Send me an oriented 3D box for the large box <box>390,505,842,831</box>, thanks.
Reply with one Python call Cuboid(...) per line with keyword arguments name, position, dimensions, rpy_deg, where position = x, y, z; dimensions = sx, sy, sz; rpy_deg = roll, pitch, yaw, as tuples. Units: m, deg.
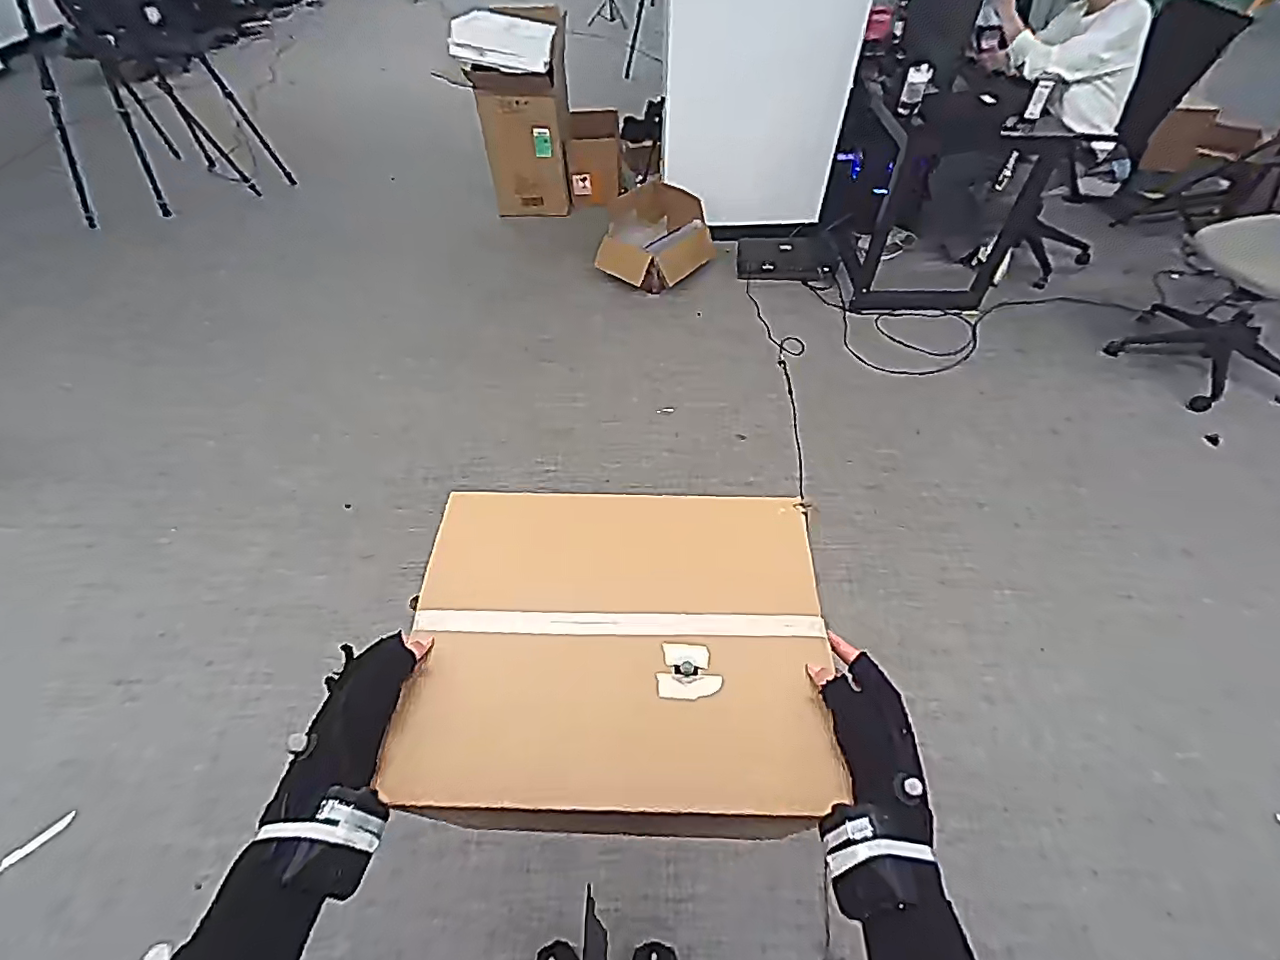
Cuboid(name="large box", position=(-0.022, 0.243, 0.674), dimensions=(0.408, 0.320, 0.320), rpy_deg=(1, 55, 0))
